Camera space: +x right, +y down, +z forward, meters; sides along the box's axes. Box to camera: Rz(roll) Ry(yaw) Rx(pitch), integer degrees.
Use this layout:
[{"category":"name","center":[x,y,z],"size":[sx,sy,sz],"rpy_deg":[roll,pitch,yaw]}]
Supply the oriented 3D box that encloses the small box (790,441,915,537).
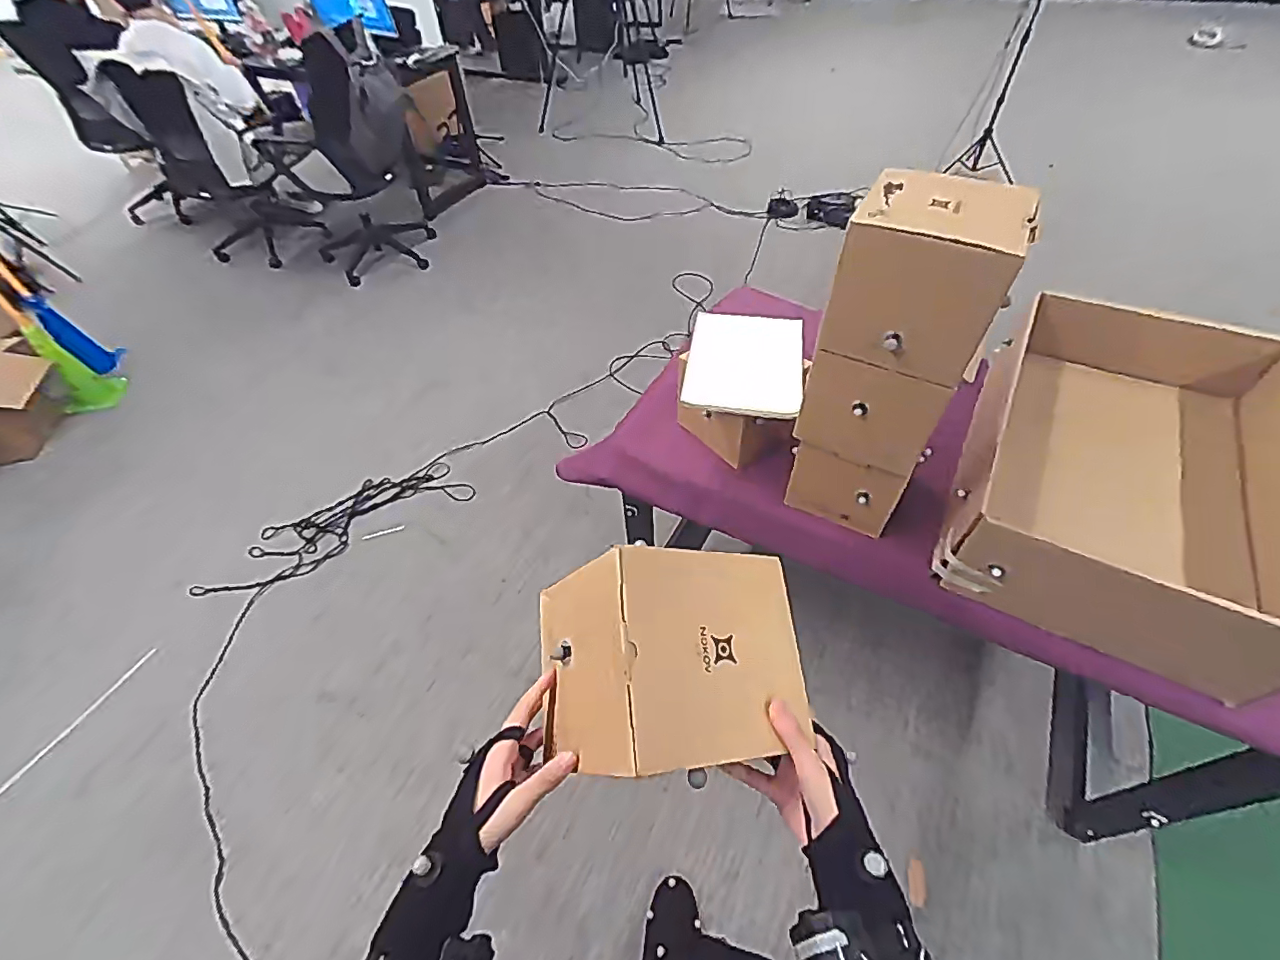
[{"category":"small box","center":[0.364,-0.035,0.910],"size":[0.168,0.176,0.179],"rpy_deg":[23,54,21]}]

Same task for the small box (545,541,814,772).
[{"category":"small box","center":[0.025,0.164,0.500],"size":[0.179,0.176,0.168],"rpy_deg":[9,63,-29]}]

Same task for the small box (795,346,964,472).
[{"category":"small box","center":[0.347,-0.136,0.782],"size":[0.179,0.176,0.168],"rpy_deg":[23,54,21]}]

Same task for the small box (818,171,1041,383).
[{"category":"small box","center":[0.341,-0.243,0.657],"size":[0.179,0.176,0.168],"rpy_deg":[23,53,20]}]
